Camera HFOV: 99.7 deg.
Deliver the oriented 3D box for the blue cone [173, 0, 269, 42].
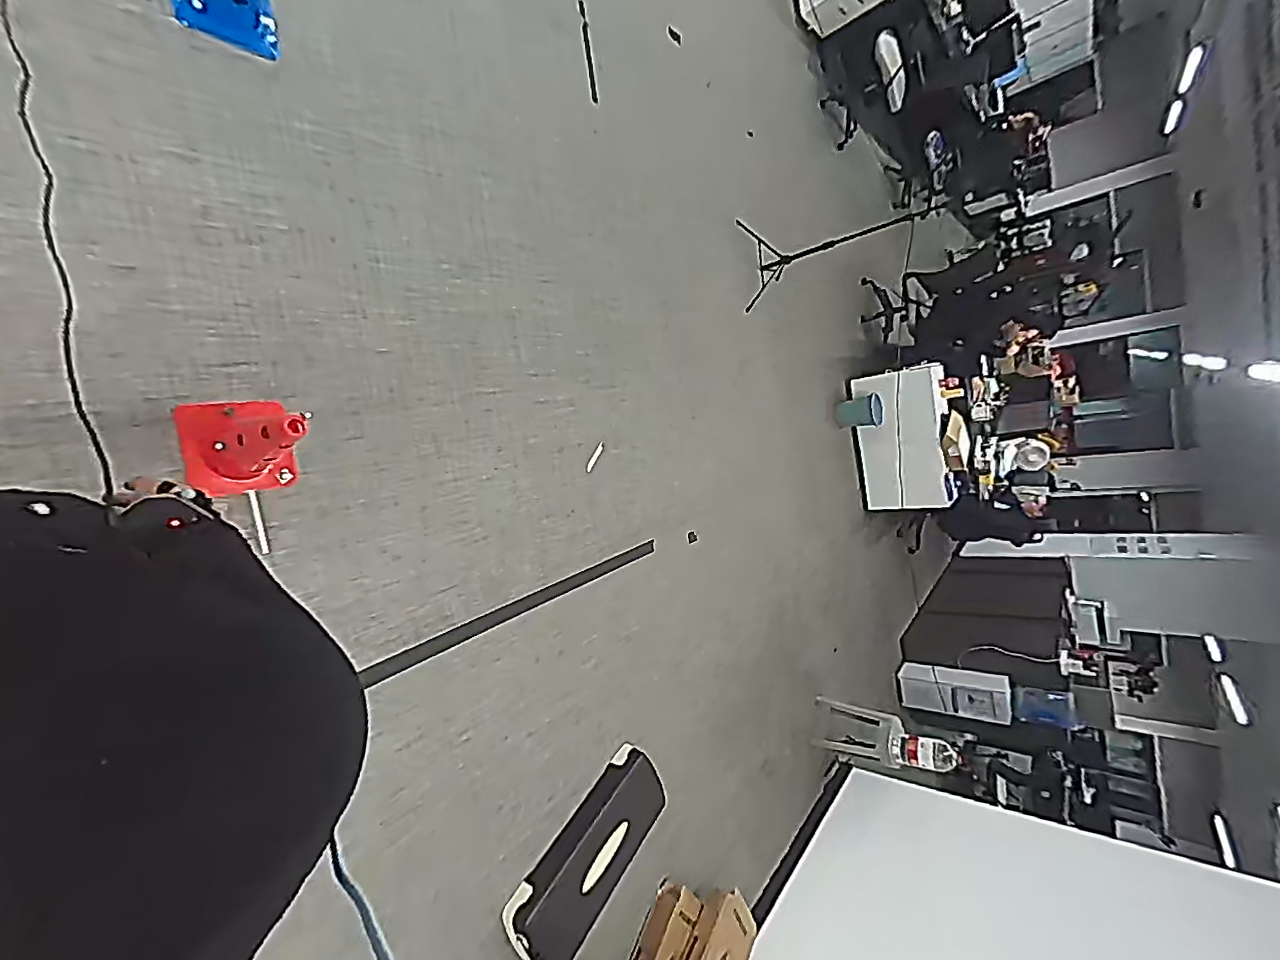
[{"bbox_3d":[-0.825,-1.119,1.106,0.193,0.380,0.192,-11,94,-50],"label":"blue cone"}]
